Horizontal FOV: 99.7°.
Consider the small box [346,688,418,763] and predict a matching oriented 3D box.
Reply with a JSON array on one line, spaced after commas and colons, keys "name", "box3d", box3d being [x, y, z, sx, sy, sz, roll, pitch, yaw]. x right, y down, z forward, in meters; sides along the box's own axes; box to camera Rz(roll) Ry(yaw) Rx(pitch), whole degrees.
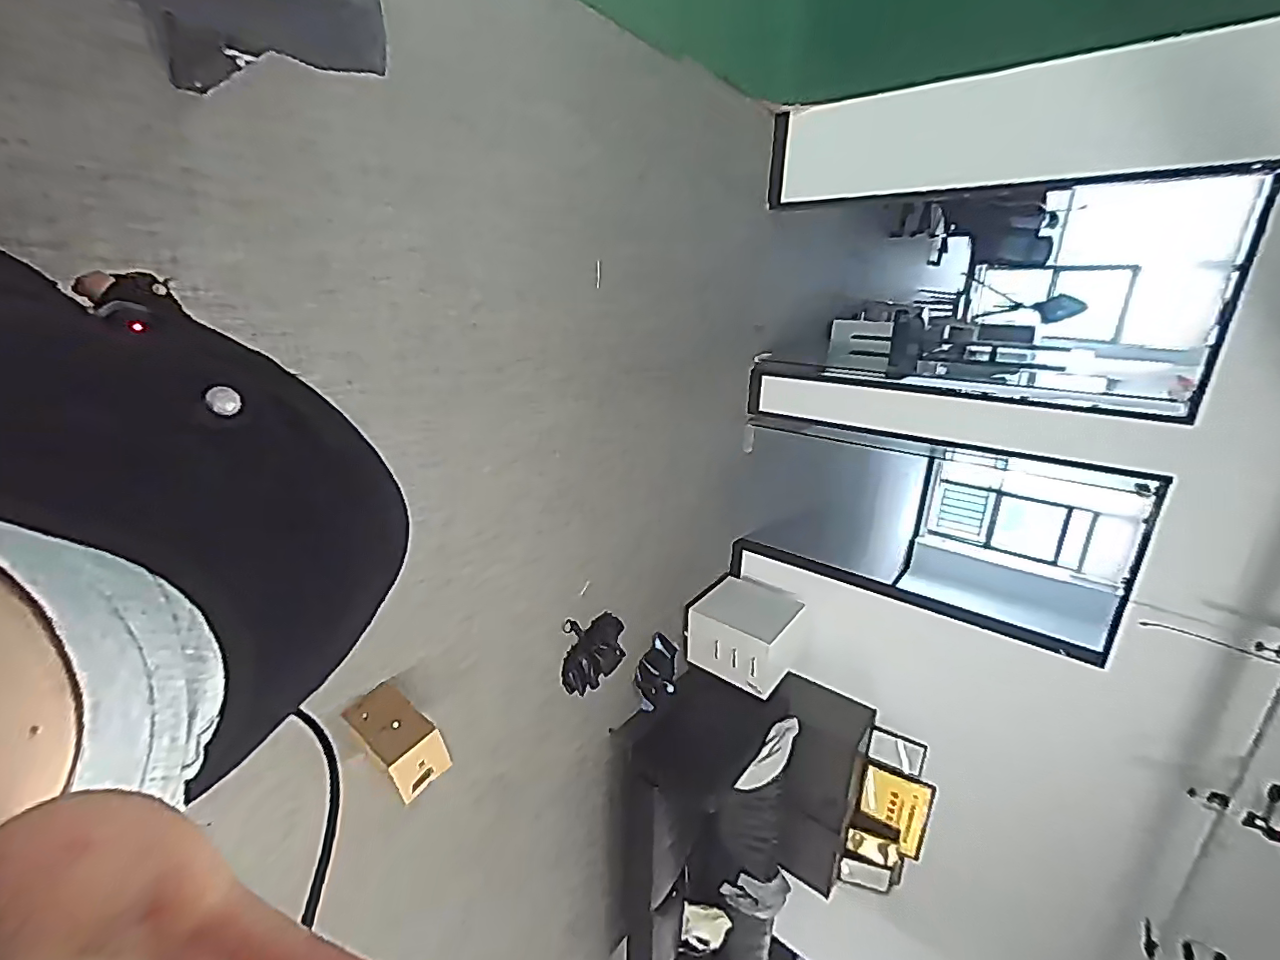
[{"name": "small box", "box3d": [-0.836, 0.818, 1.784, 0.168, 0.176, 0.179, -34, 129, -40]}]

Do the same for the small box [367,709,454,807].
[{"name": "small box", "box3d": [-0.714, 0.855, 1.680, 0.168, 0.176, 0.179, -33, 126, -41]}]
